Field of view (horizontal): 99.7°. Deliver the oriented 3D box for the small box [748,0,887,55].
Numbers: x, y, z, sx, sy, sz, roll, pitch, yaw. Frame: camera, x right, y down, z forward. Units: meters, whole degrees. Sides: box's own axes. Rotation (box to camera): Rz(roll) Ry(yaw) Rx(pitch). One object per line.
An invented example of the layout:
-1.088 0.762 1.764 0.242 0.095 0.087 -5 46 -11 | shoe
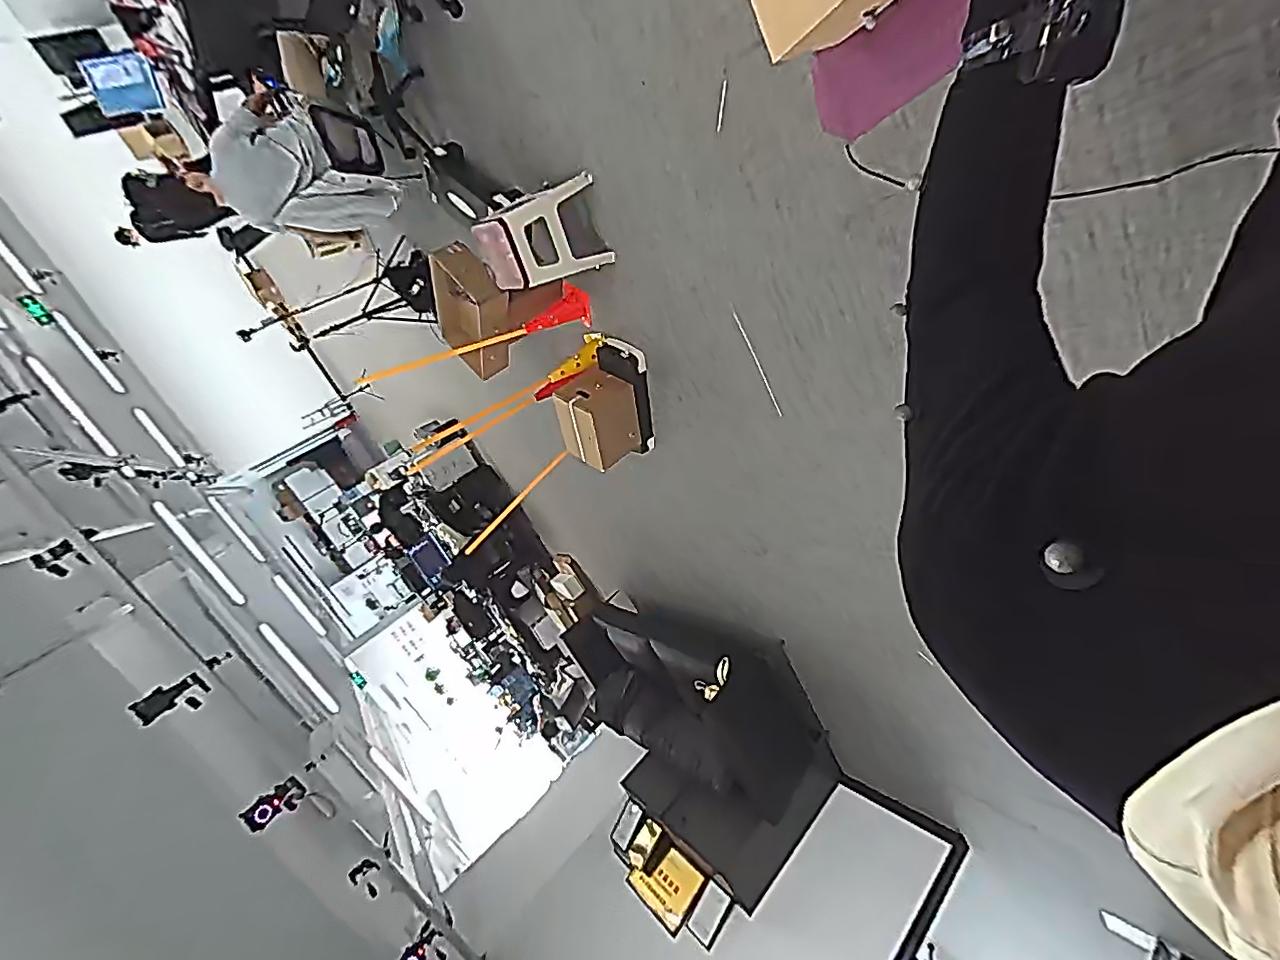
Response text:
0.229 -0.653 0.633 0.168 0.176 0.179 0 122 58 | small box
